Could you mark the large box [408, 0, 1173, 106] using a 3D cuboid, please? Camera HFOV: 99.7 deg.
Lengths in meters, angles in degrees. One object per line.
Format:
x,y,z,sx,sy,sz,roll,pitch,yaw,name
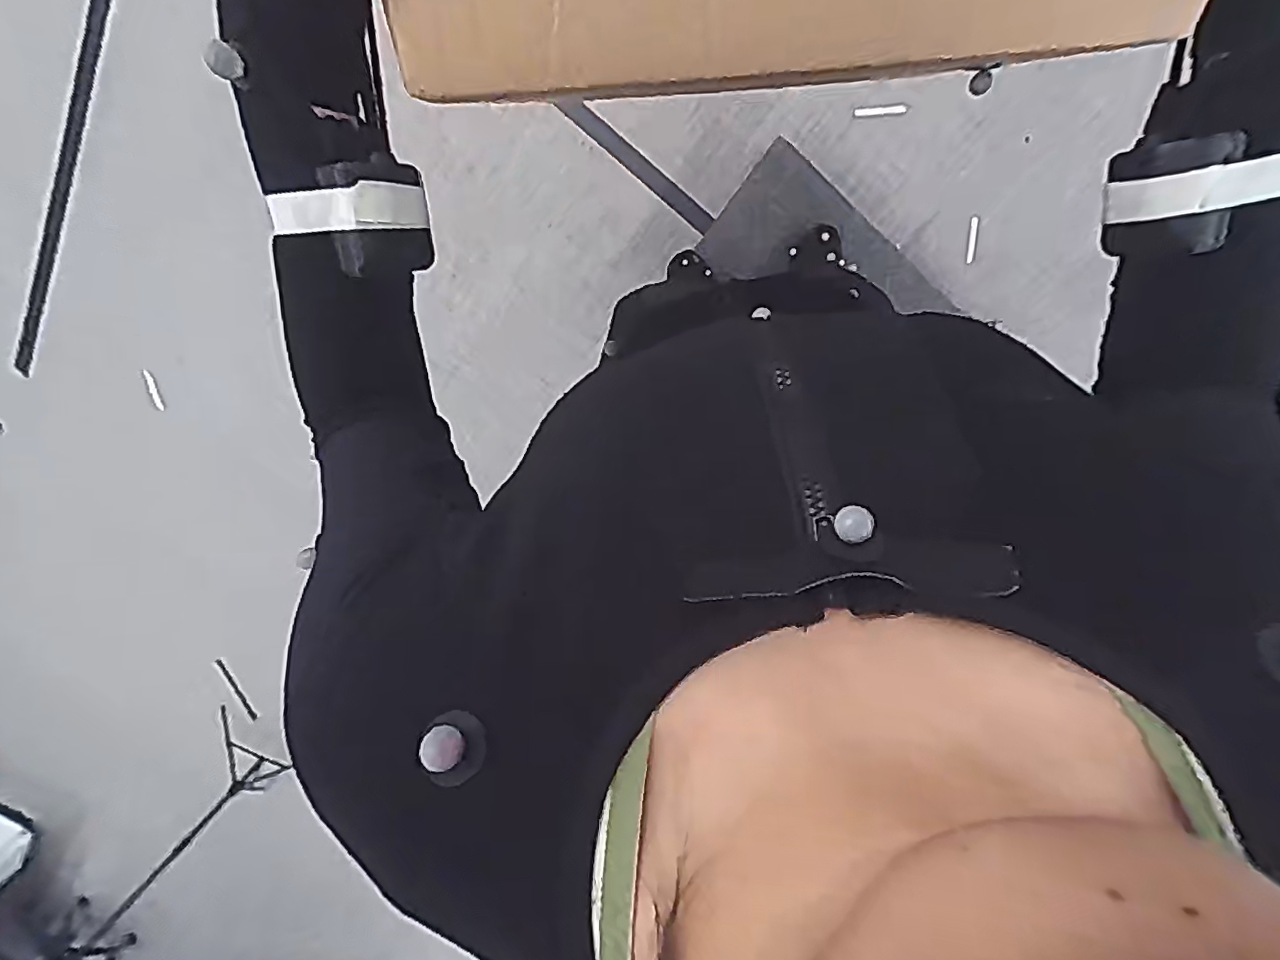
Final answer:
0.074,-0.435,0.332,0.408,0.320,0.320,-1,124,4,large box
